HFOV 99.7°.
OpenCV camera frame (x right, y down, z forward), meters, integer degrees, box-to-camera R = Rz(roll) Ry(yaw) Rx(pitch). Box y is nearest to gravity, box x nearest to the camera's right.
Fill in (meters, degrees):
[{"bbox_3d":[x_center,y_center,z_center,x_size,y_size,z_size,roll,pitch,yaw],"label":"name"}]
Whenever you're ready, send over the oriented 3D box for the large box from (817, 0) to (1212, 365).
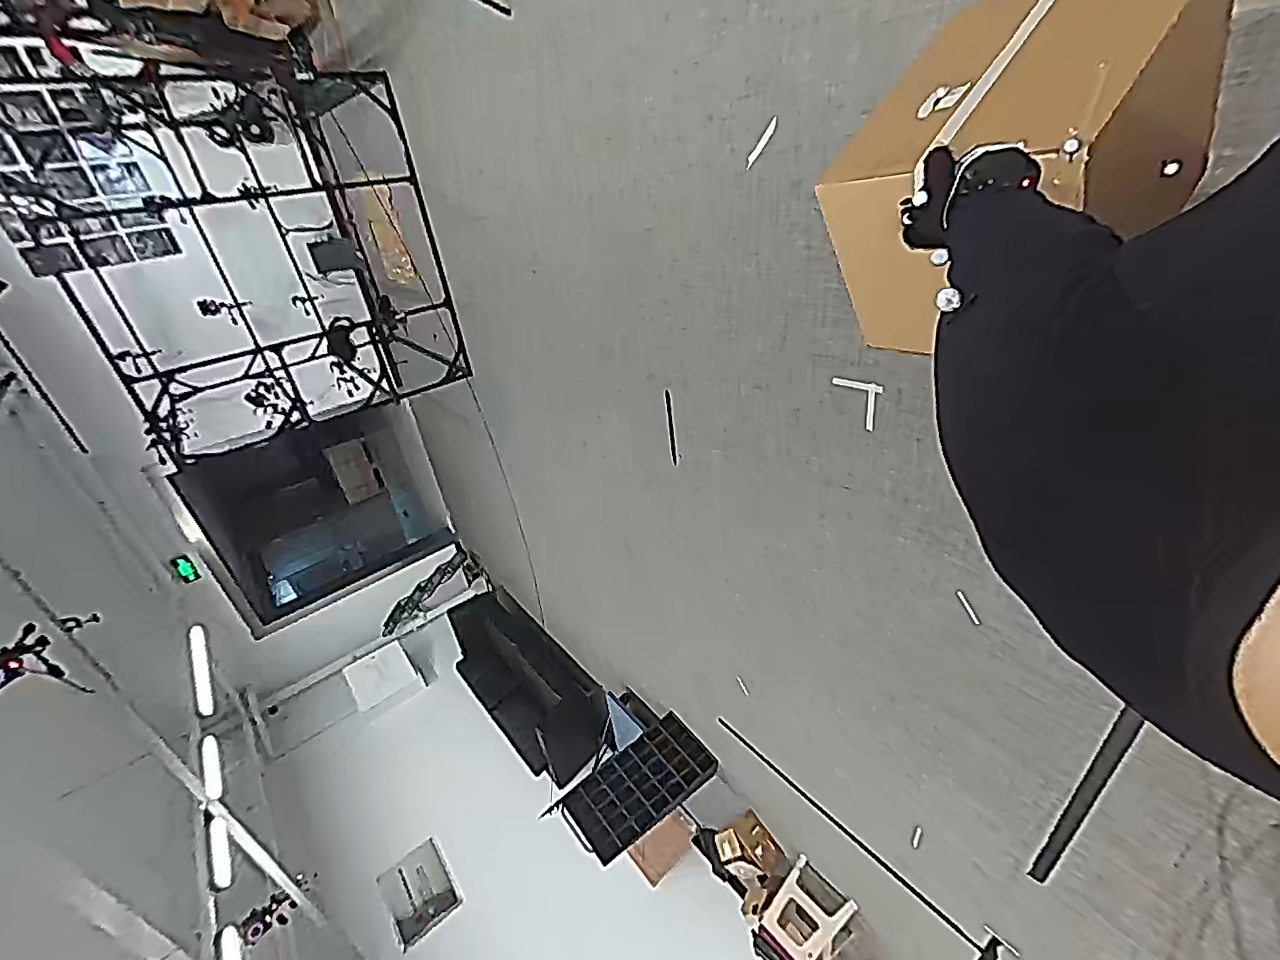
[{"bbox_3d":[0.533,-0.434,0.781,0.320,0.408,0.320,26,166,49],"label":"large box"}]
